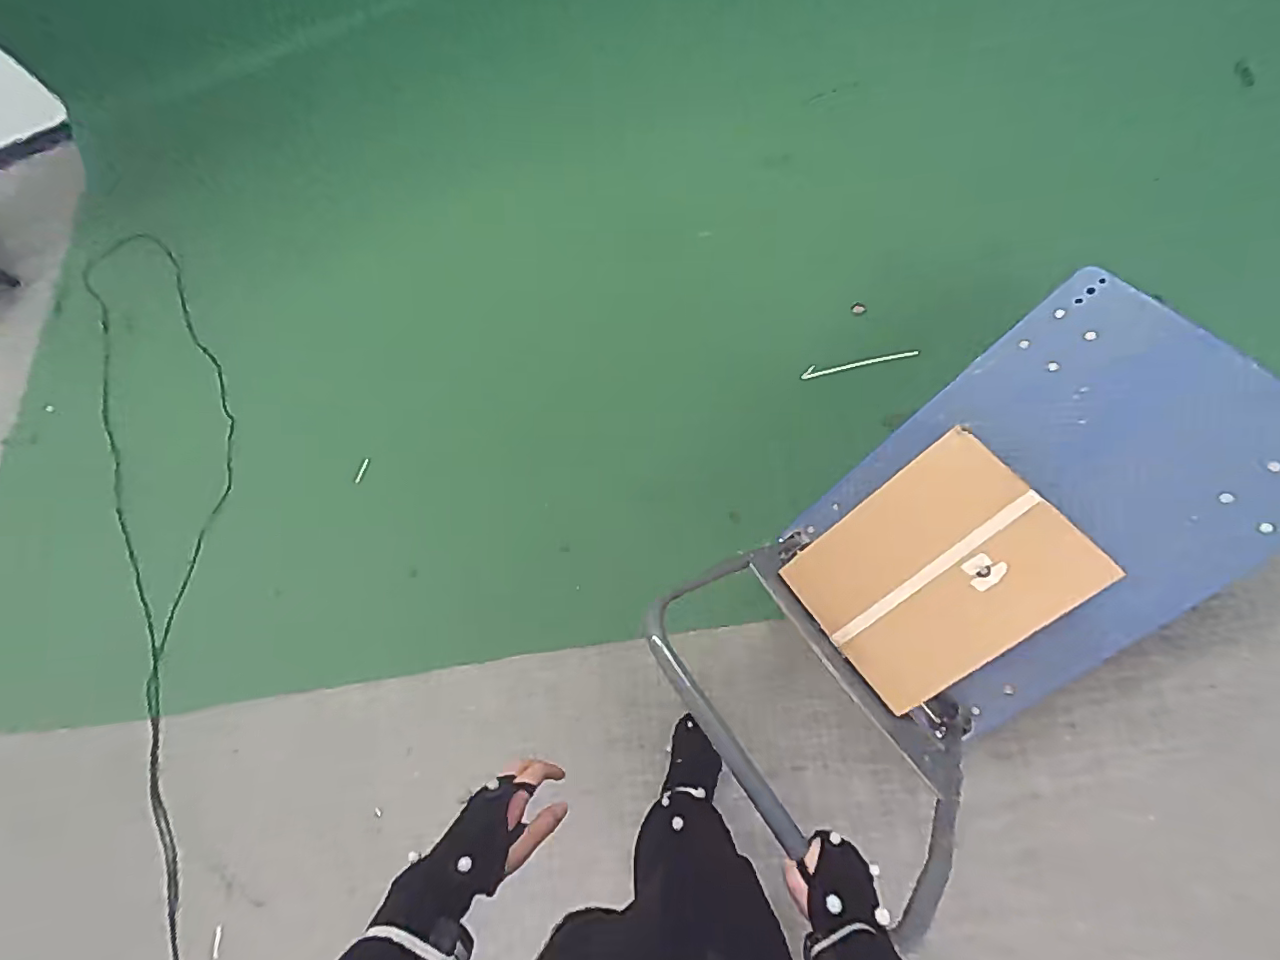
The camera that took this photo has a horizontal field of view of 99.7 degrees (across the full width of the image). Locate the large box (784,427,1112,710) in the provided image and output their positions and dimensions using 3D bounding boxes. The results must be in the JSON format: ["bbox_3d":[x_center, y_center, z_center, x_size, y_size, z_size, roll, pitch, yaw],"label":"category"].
[{"bbox_3d":[0.561,0.165,1.047,0.408,0.320,0.320,-45,67,19],"label":"large box"}]
